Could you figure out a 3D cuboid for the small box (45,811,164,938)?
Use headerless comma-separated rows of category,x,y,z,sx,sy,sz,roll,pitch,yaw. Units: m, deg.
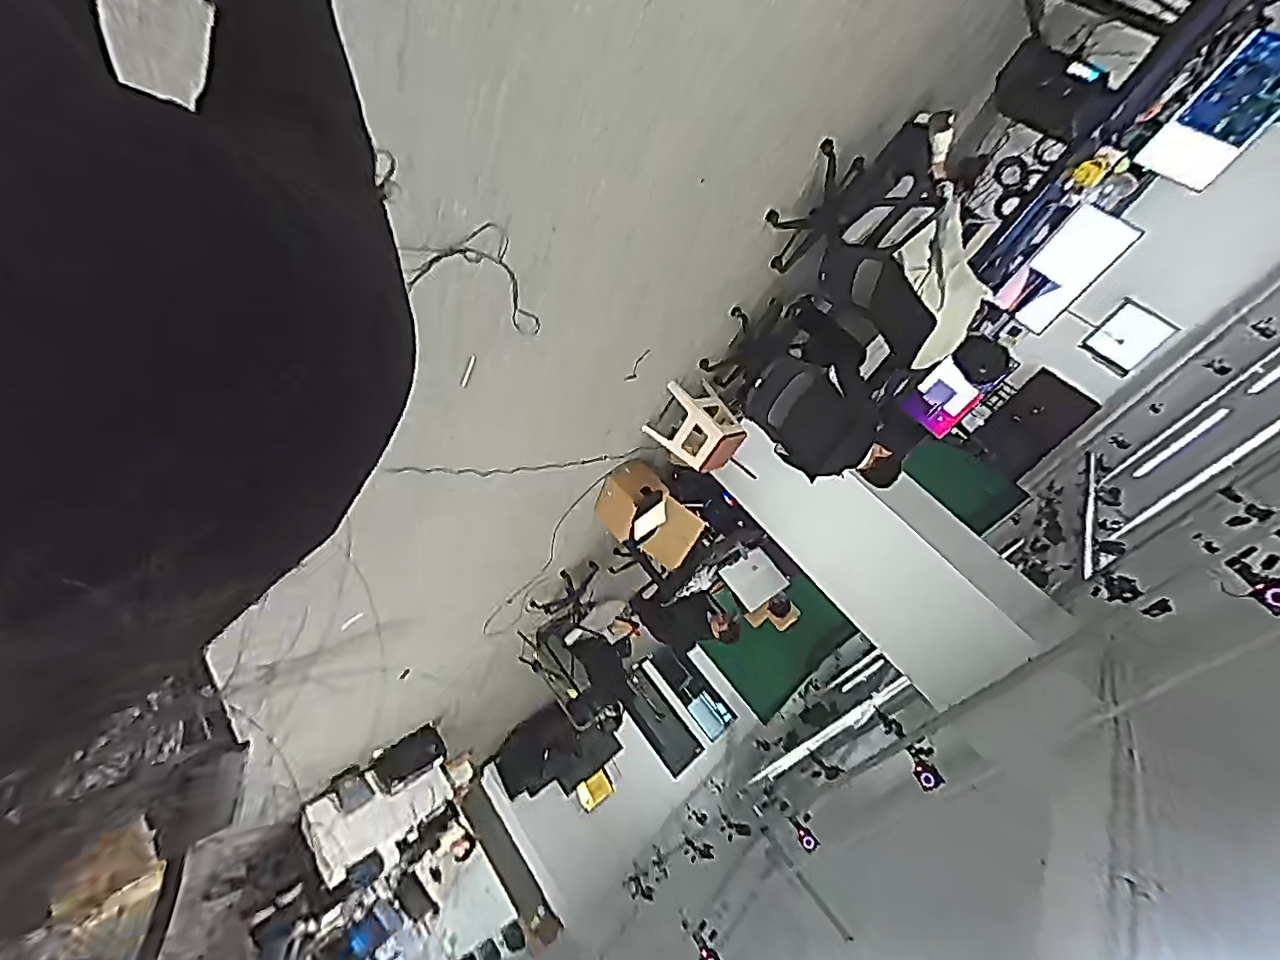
small box,-1.327,0.974,1.343,0.179,0.176,0.168,-20,150,-45
